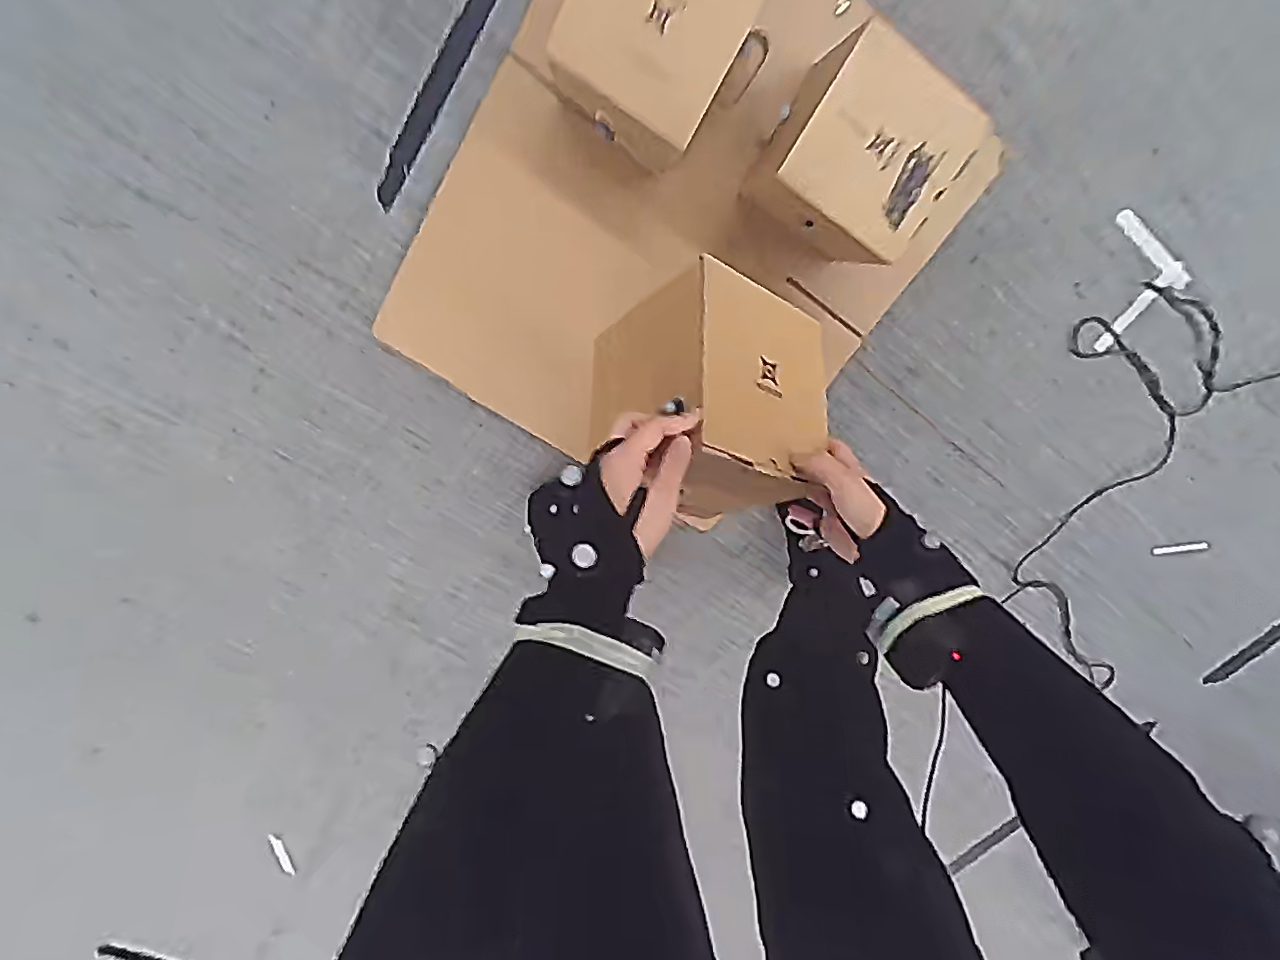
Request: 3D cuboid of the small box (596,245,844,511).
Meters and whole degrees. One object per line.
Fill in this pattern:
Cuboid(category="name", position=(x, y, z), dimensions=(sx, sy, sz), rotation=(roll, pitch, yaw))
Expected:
Cuboid(category="small box", position=(0.072, -0.077, 0.519), dimensions=(0.168, 0.176, 0.179), rotation=(14, 71, -36))

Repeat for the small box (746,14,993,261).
Cuboid(category="small box", position=(0.256, -0.388, 0.646), dimensions=(0.179, 0.176, 0.168), rotation=(28, 109, -15))

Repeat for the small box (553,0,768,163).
Cuboid(category="small box", position=(0.021, -0.483, 0.589), dimensions=(0.168, 0.176, 0.179), rotation=(27, 110, -13))
